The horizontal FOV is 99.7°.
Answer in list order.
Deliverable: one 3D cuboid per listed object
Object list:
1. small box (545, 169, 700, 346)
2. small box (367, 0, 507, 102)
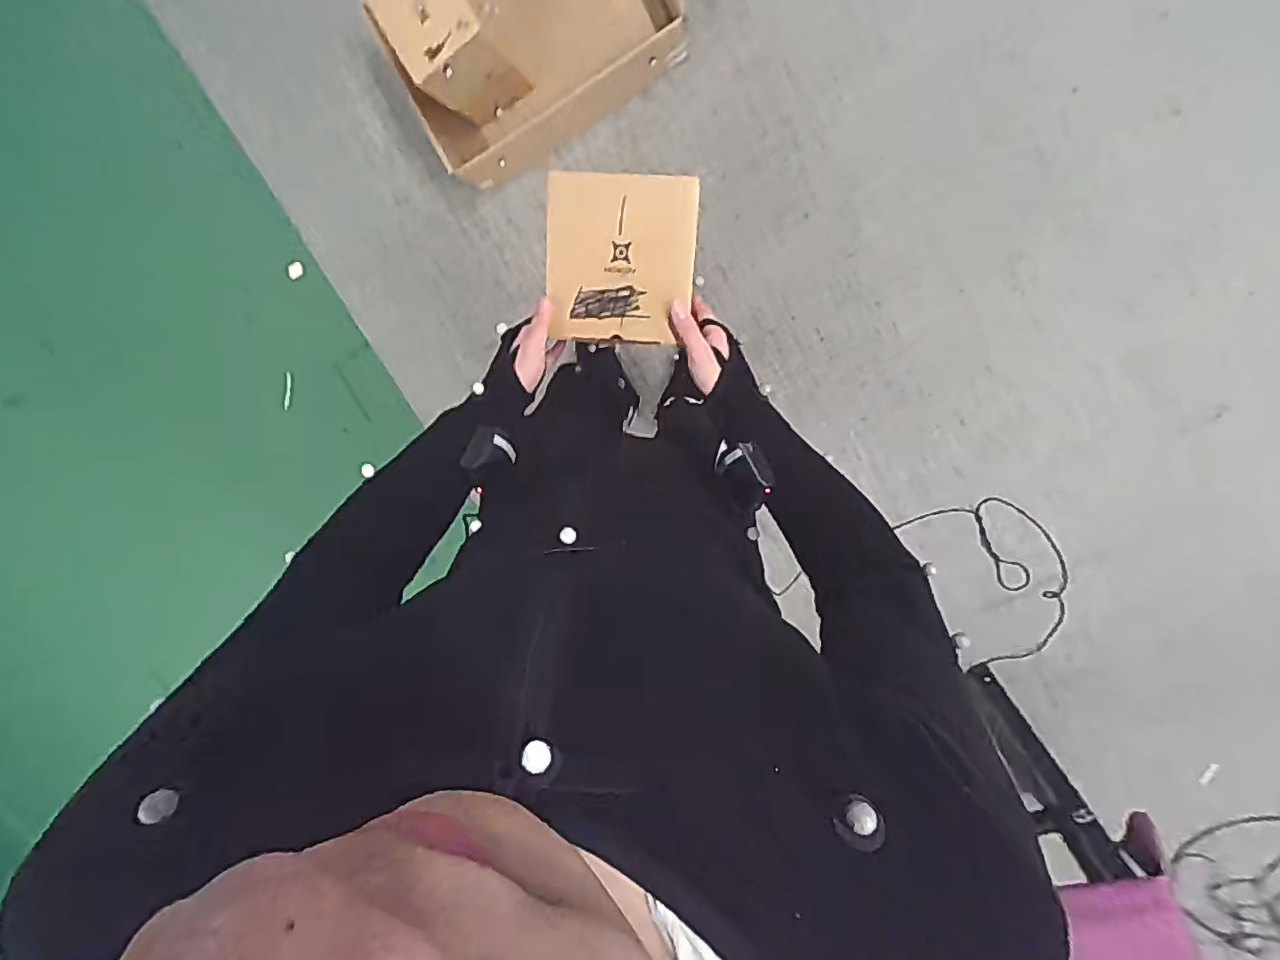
[{"bbox_3d":[-0.016,-0.261,0.672,0.168,0.176,0.179,4,103,3],"label":"small box"},{"bbox_3d":[-0.396,-0.899,1.066,0.168,0.176,0.179,-27,104,16],"label":"small box"}]
